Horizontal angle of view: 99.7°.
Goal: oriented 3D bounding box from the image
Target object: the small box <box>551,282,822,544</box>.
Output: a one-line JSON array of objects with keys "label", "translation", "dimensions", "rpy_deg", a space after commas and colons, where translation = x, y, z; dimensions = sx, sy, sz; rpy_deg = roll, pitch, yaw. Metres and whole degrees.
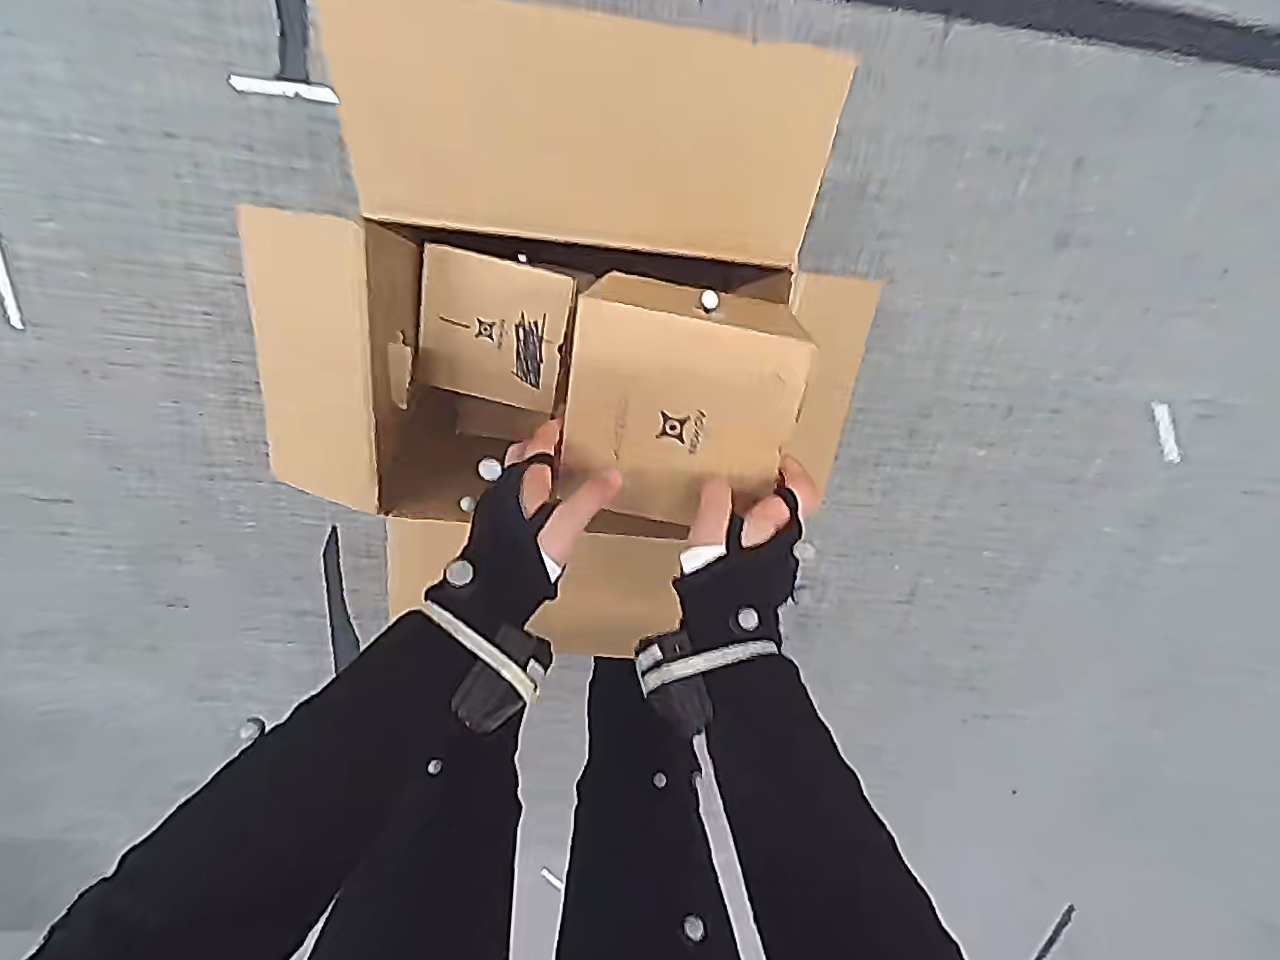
[{"label": "small box", "translation": [0.033, -0.069, 0.477], "dimensions": [0.179, 0.176, 0.168], "rpy_deg": [11, 116, 0]}]
